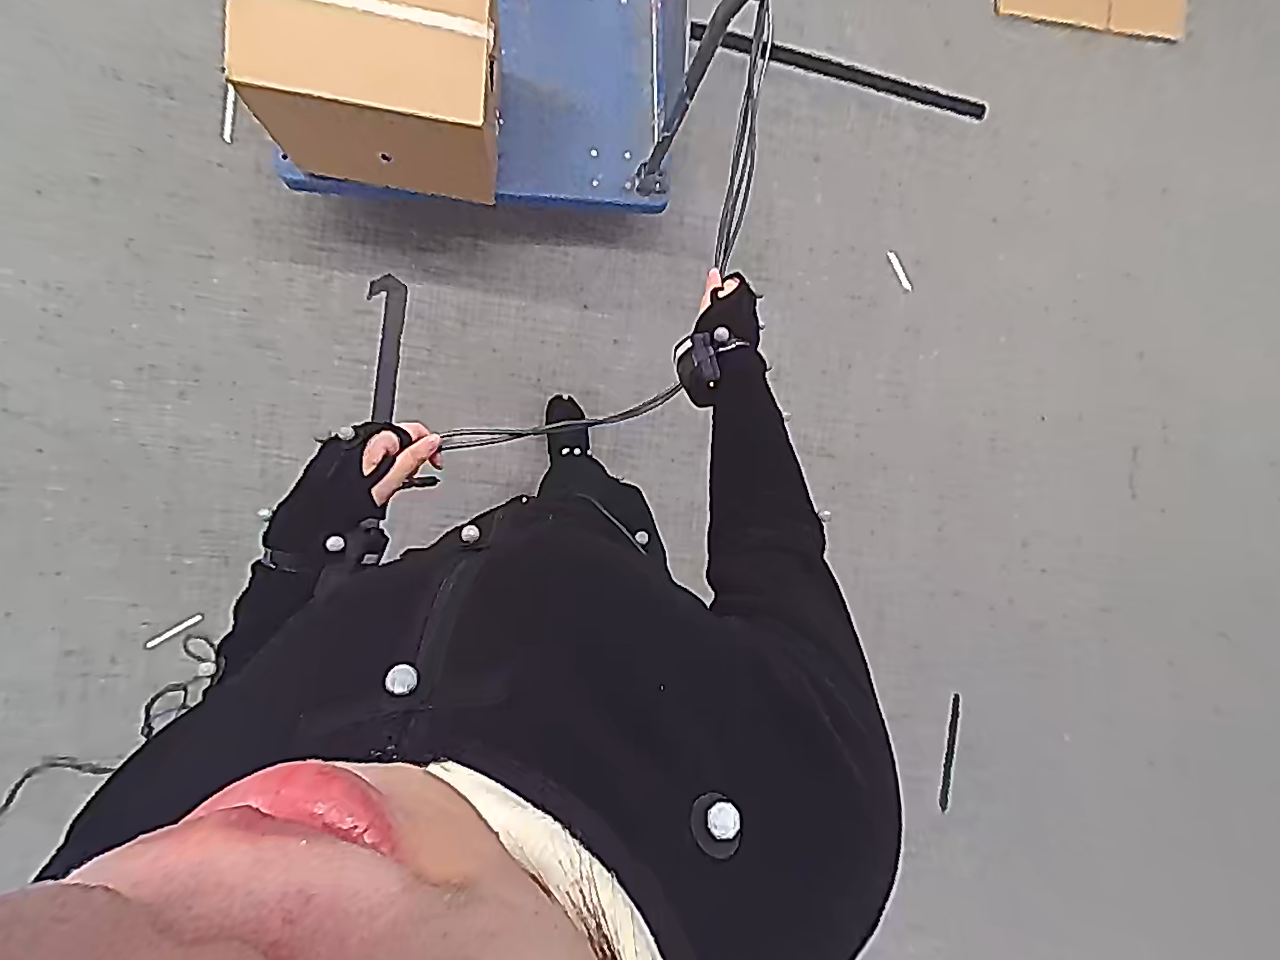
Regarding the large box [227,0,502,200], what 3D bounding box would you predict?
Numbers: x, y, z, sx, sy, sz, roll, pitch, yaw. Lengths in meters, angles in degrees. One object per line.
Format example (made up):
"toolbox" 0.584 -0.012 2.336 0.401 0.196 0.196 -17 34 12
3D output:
"large box" -0.483 -0.781 1.038 0.408 0.320 0.320 4 92 -11
